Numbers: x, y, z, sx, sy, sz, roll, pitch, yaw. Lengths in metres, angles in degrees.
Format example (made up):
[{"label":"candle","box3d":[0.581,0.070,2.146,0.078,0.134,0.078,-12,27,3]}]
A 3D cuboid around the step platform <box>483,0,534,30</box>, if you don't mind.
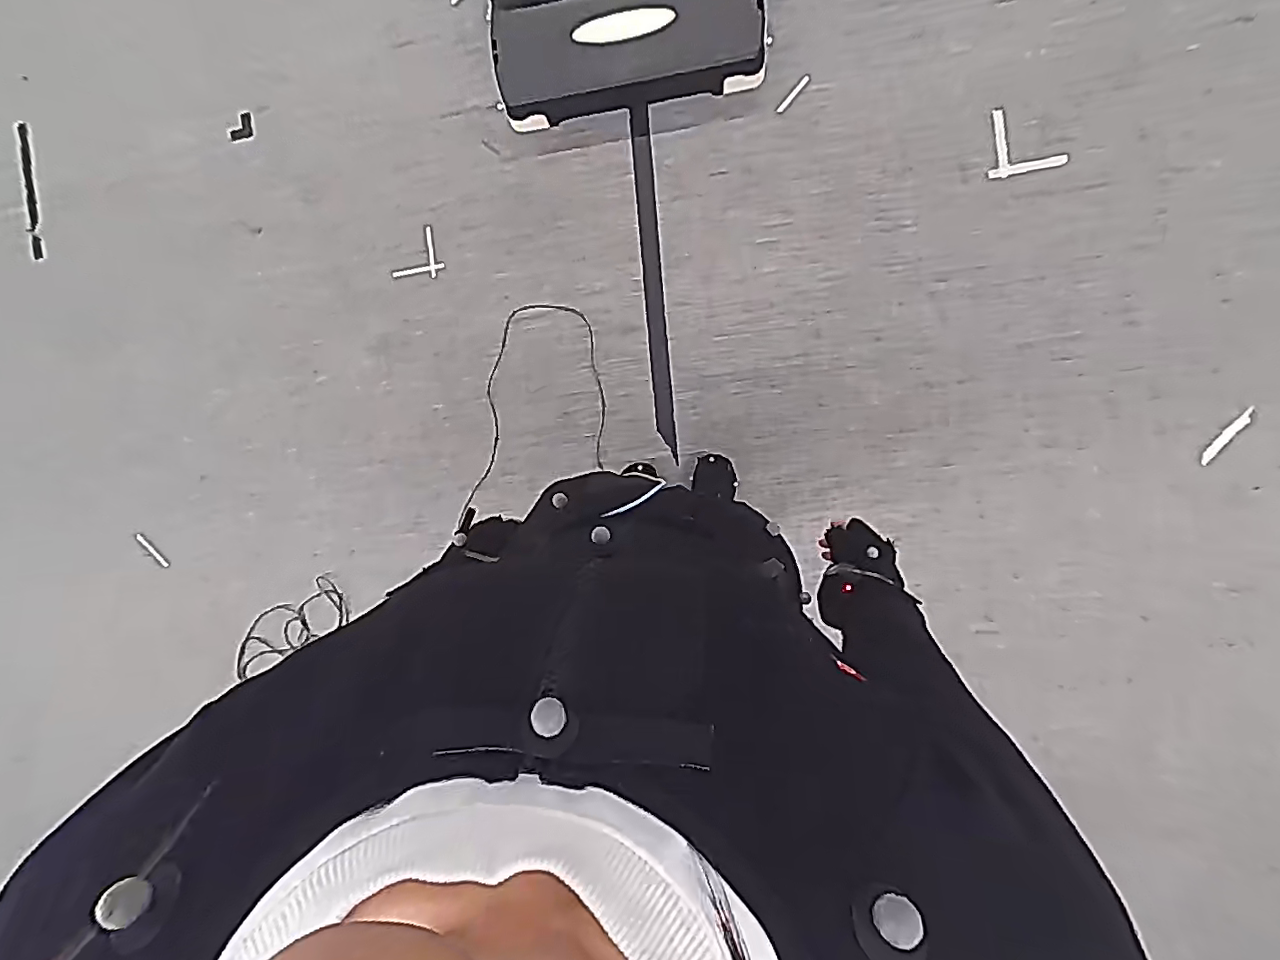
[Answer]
[{"label":"step platform","box3d":[-0.085,-1.345,1.279,0.684,0.204,0.286,-7,93,7]}]
